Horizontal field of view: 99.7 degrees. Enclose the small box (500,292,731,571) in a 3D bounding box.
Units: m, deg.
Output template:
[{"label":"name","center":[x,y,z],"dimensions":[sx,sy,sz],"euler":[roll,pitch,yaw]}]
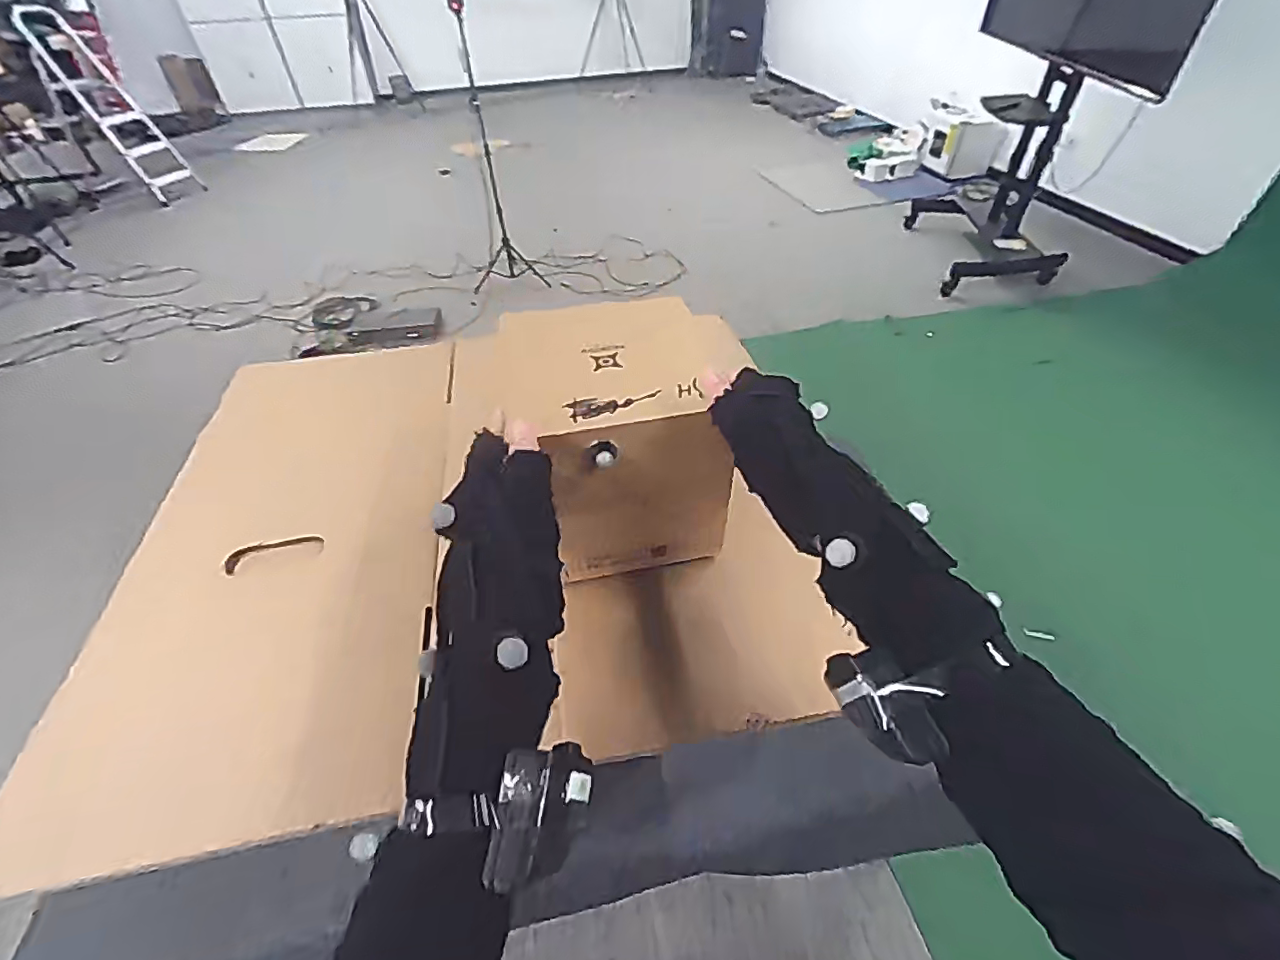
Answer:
[{"label":"small box","center":[-0.027,-0.046,0.488],"dimensions":[0.168,0.176,0.179],"euler":[-10,45,-6]}]
